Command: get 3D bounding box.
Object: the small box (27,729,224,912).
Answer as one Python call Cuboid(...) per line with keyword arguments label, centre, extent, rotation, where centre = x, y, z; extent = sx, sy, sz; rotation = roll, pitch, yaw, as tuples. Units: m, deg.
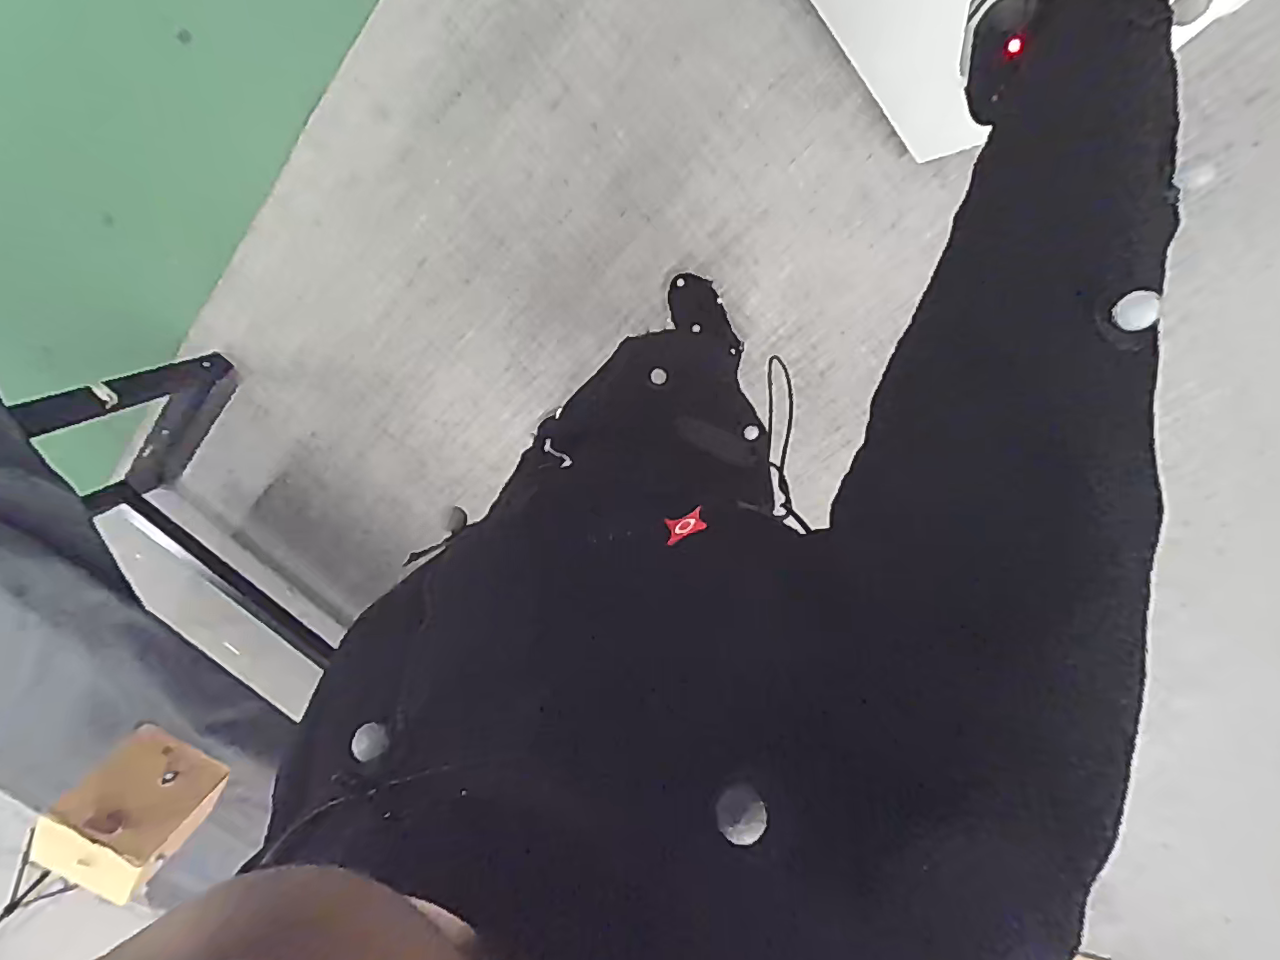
Cuboid(label="small box", centre=(-0.848, 0.562, 0.904), extent=(0.168, 0.176, 0.179), rotation=(36, 115, -8))
